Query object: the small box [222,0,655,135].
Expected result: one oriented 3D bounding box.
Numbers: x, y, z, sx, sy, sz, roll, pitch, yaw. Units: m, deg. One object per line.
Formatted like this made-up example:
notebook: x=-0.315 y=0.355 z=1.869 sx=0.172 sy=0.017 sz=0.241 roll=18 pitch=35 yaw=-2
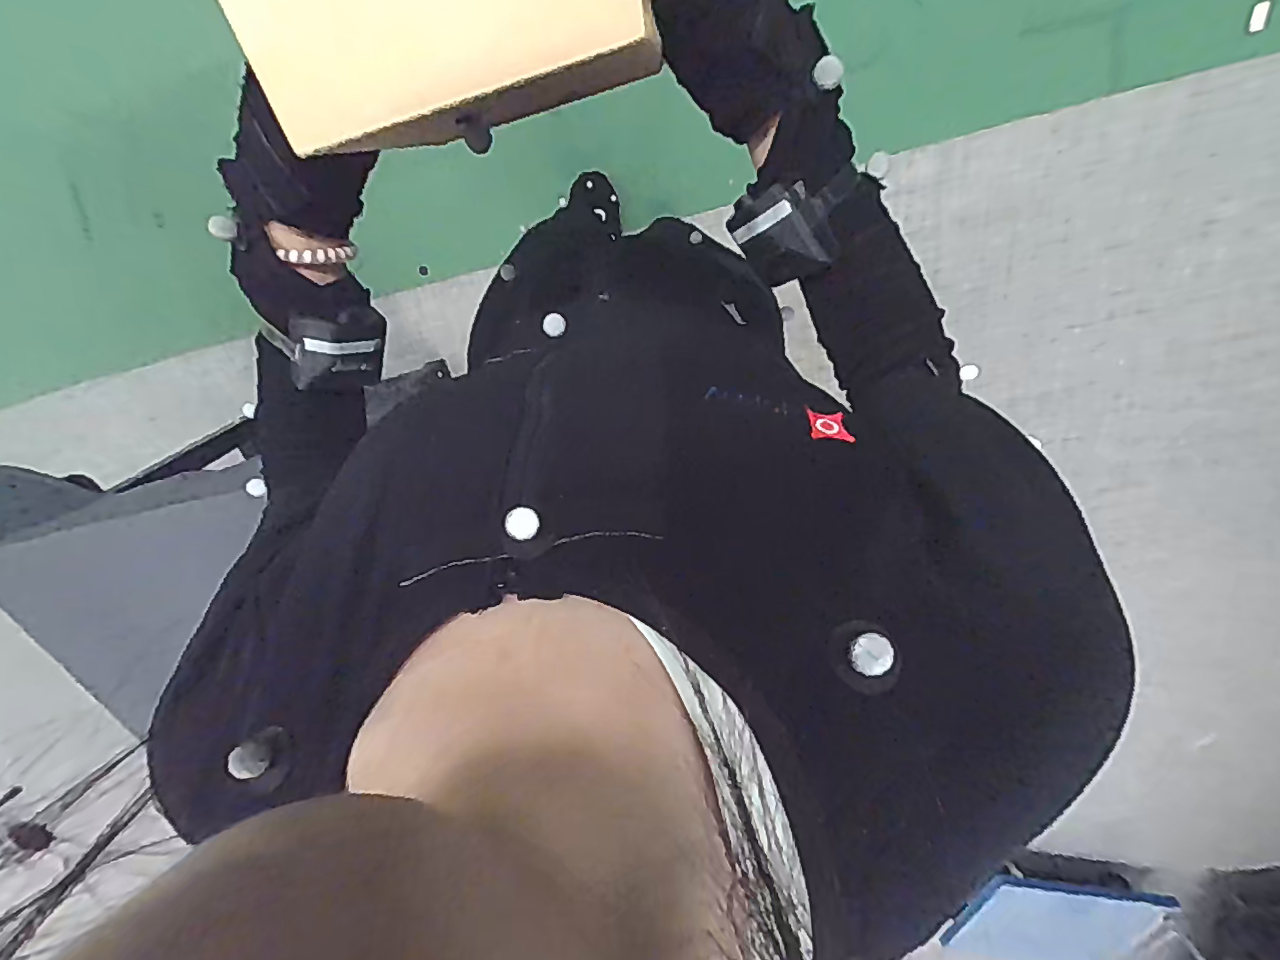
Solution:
small box: x=-0.092 y=-0.283 z=0.250 sx=0.168 sy=0.176 sz=0.179 roll=-10 pitch=121 yaw=11
